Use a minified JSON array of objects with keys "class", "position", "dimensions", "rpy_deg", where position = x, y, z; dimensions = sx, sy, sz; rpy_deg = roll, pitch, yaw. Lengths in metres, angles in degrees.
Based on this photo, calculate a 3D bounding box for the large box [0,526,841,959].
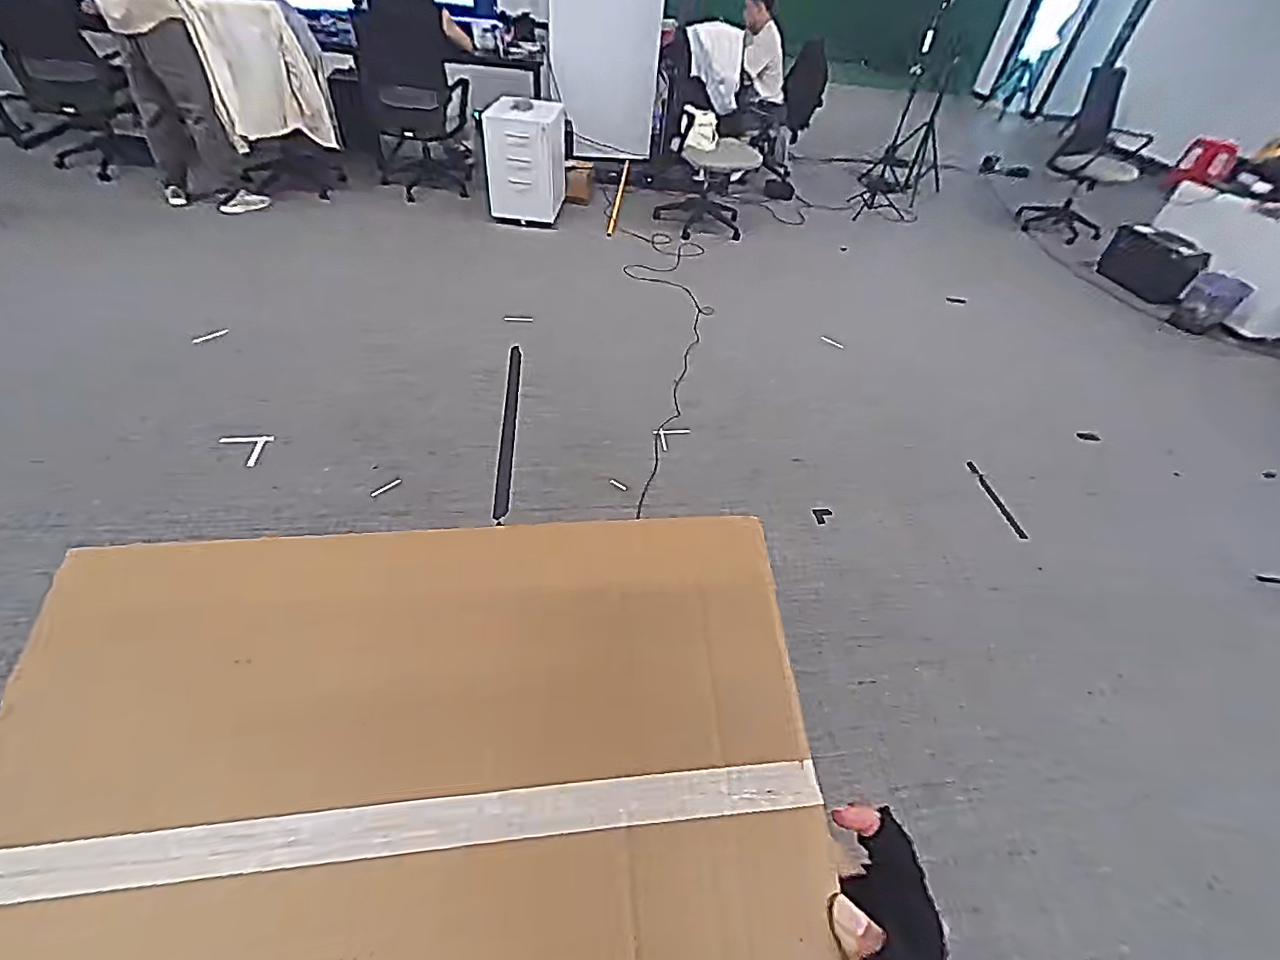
[{"class":"large box","position":[-0.120,0.246,0.399],"dimensions":[0.408,0.320,0.320],"rpy_deg":[-2,62,-6]}]
